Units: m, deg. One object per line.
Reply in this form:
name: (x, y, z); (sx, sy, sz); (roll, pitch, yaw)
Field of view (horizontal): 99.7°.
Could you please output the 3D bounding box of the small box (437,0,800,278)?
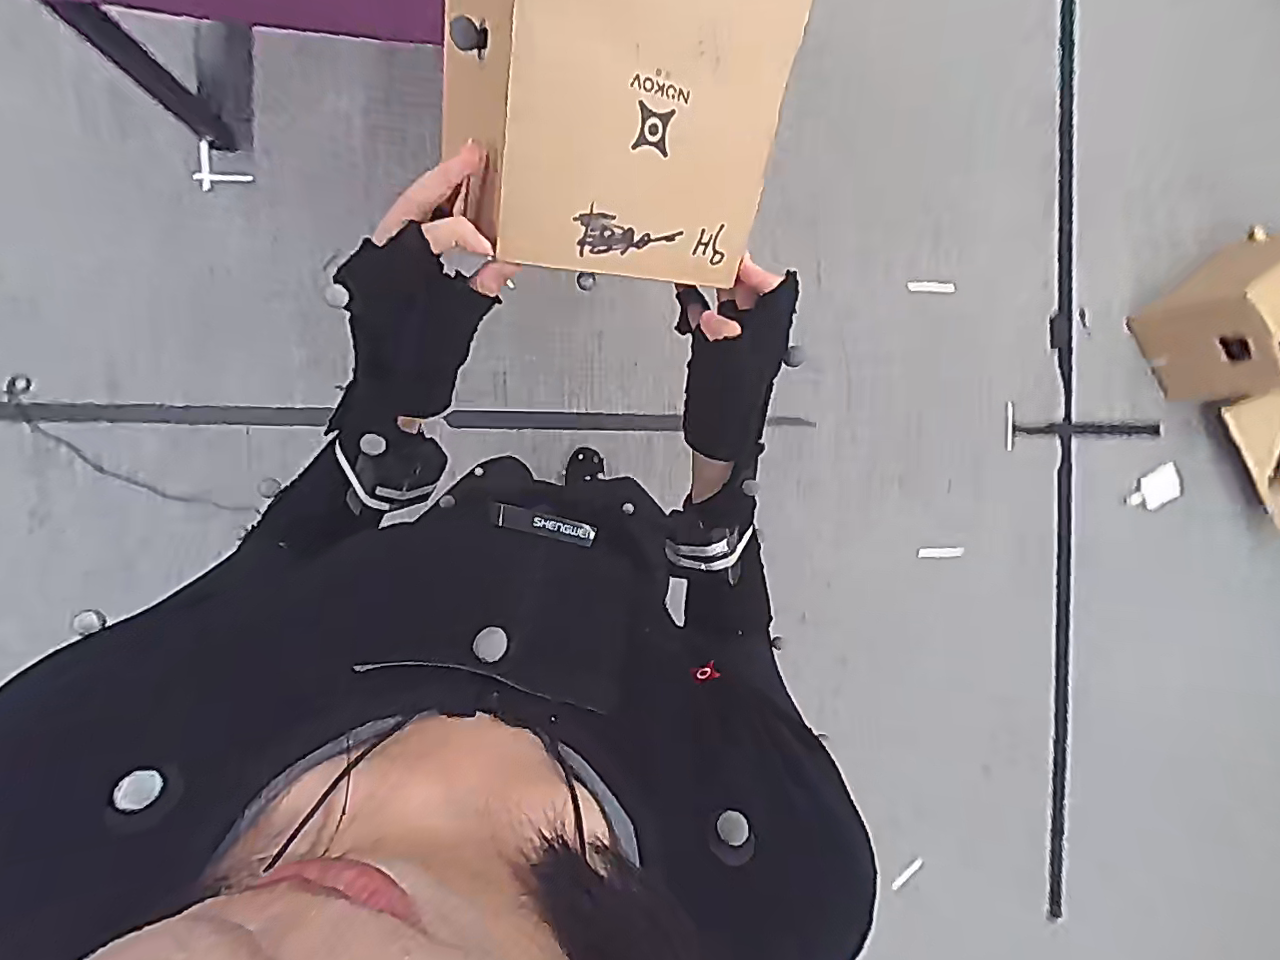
small box: (-0.031, -0.245, 0.346); (0.168, 0.176, 0.179); (-5, 123, -28)
